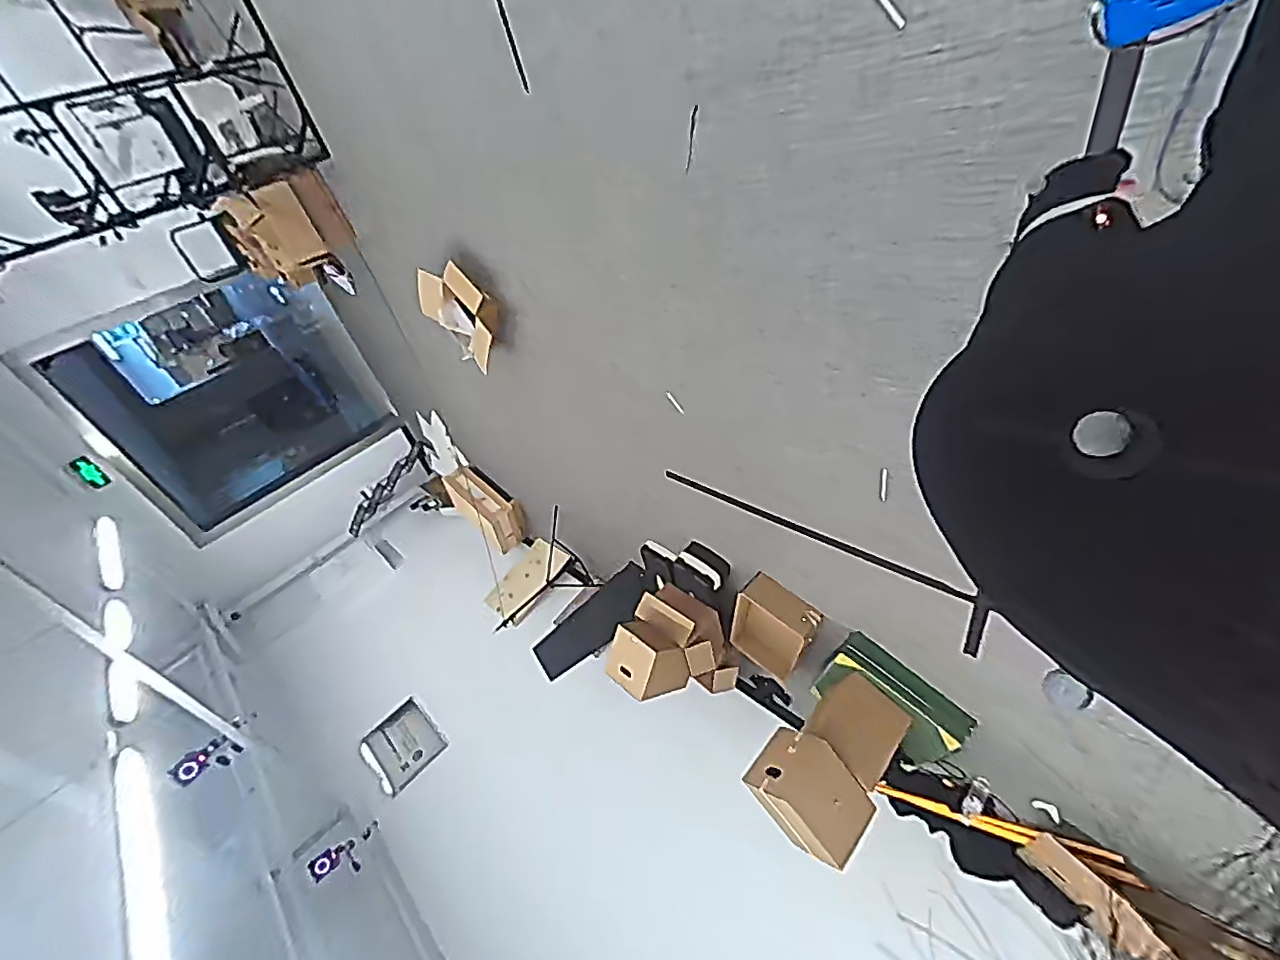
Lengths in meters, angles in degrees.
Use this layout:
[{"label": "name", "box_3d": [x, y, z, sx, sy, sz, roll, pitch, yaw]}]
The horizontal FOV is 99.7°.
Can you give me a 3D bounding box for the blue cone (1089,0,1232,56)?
[{"label": "blue cone", "box_3d": [0.728, -0.731, 0.782, 0.193, 0.380, 0.192, 7, 130, 52]}]
